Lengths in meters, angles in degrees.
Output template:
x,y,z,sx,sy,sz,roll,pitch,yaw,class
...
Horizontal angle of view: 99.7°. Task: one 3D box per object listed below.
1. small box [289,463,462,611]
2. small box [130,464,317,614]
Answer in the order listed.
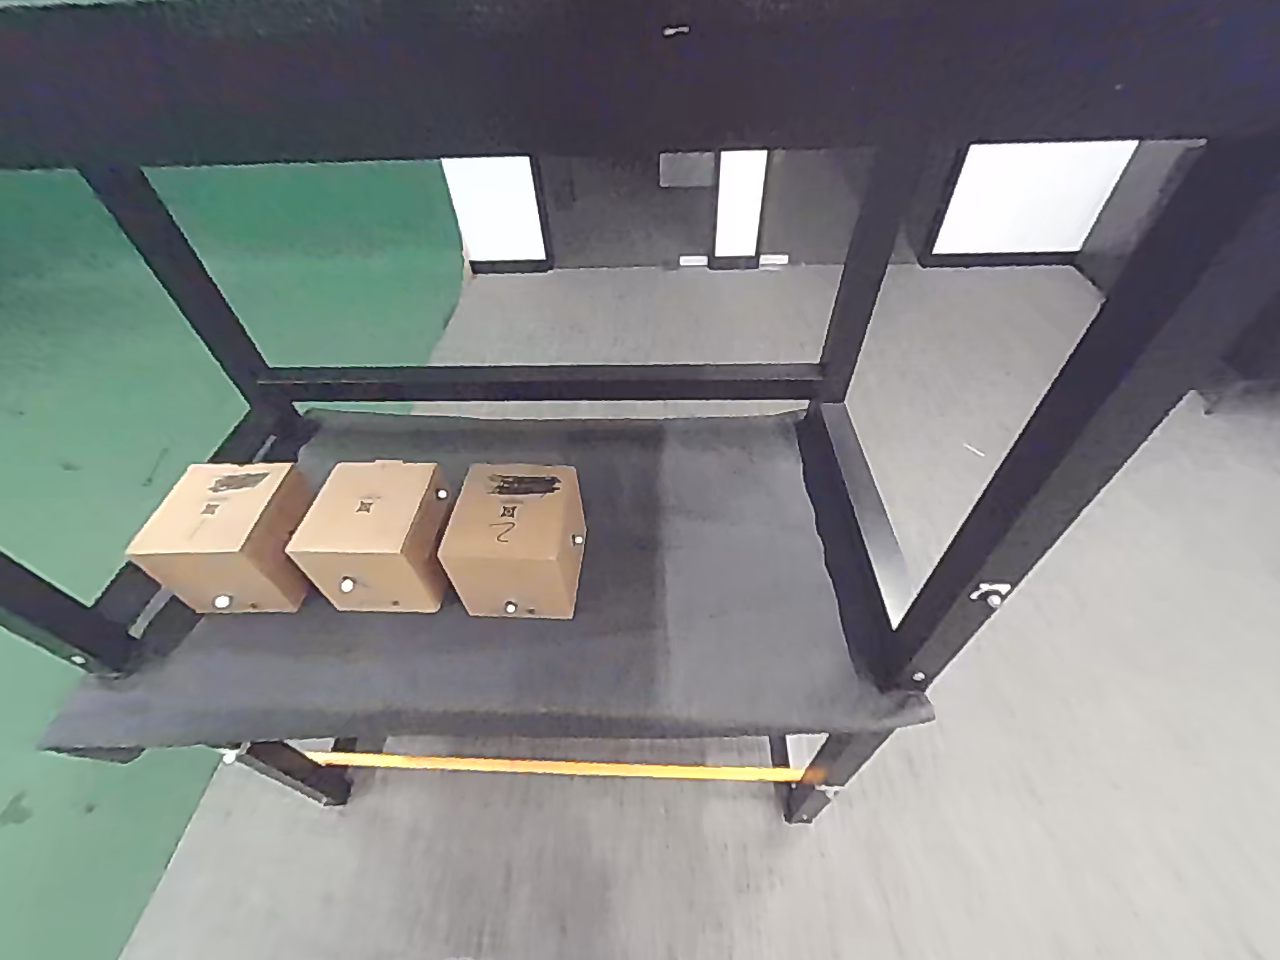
x,y,z,sx,sy,sz,roll,pitch,yaw,class
-0.398,0.092,0.854,0.168,0.176,0.179,1,46,3,small box
-0.624,0.094,0.861,0.168,0.176,0.179,-2,47,2,small box
